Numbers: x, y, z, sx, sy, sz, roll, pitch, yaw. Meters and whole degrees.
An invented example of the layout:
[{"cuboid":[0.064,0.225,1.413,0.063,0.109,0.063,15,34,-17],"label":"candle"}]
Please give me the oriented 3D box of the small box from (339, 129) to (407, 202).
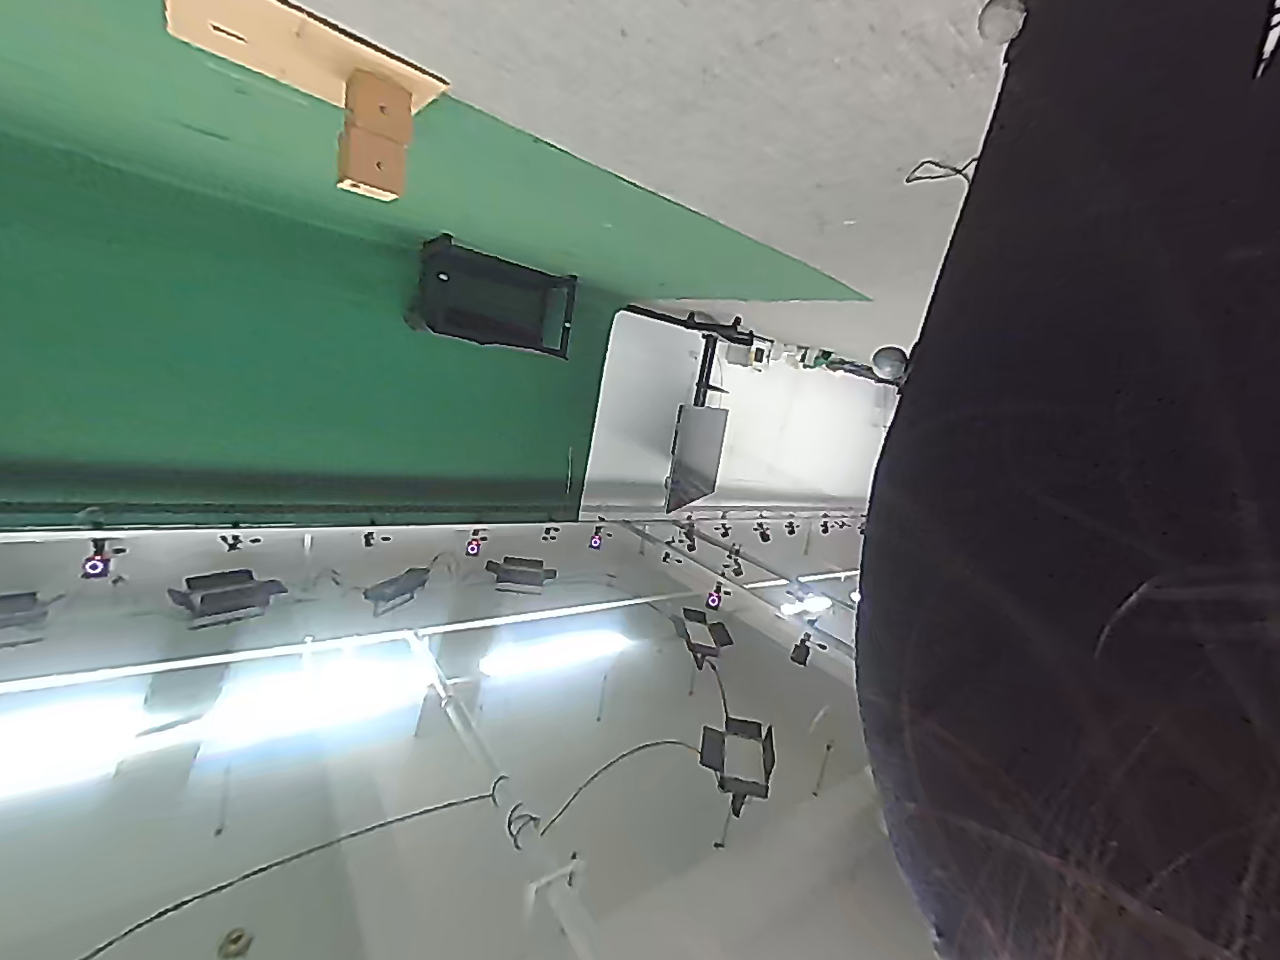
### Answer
[{"cuboid":[-0.930,-1.096,1.883,0.179,0.176,0.168,-2,-164,-42],"label":"small box"}]
